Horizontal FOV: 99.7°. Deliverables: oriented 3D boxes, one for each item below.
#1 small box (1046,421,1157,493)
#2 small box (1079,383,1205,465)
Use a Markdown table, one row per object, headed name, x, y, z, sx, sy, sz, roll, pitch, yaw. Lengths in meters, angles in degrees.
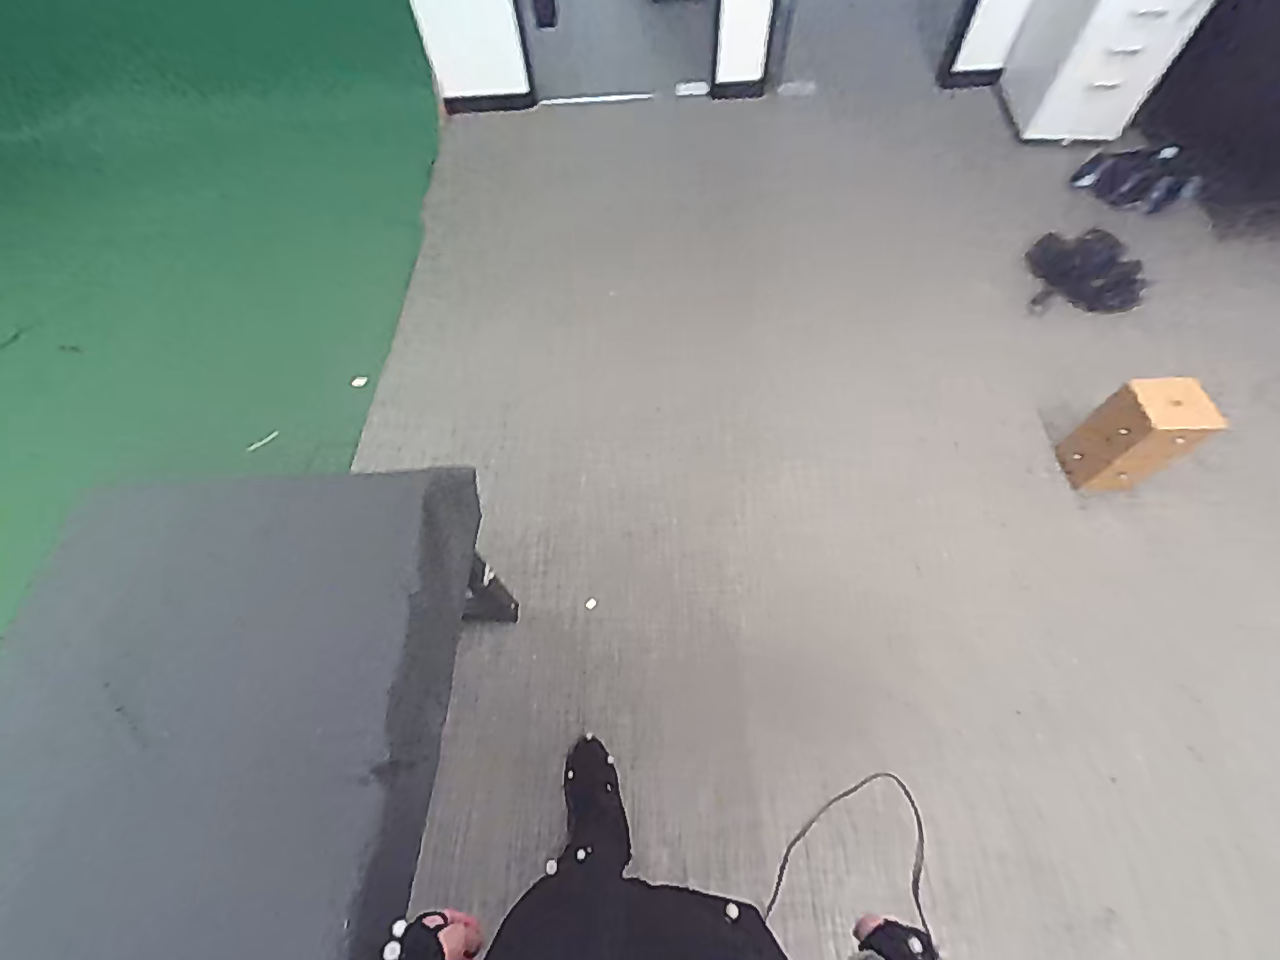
| name | x | y | z | sx | sy | sz | roll | pitch | yaw |
| --- | --- | --- | --- | --- | --- | --- | --- | --- | --- |
| small box | 1.390 | -0.070 | 1.651 | 0.179 | 0.176 | 0.168 | -4 | 60 | 0 |
| small box | 1.382 | -0.153 | 1.511 | 0.179 | 0.176 | 0.168 | -2 | 61 | -1 |
